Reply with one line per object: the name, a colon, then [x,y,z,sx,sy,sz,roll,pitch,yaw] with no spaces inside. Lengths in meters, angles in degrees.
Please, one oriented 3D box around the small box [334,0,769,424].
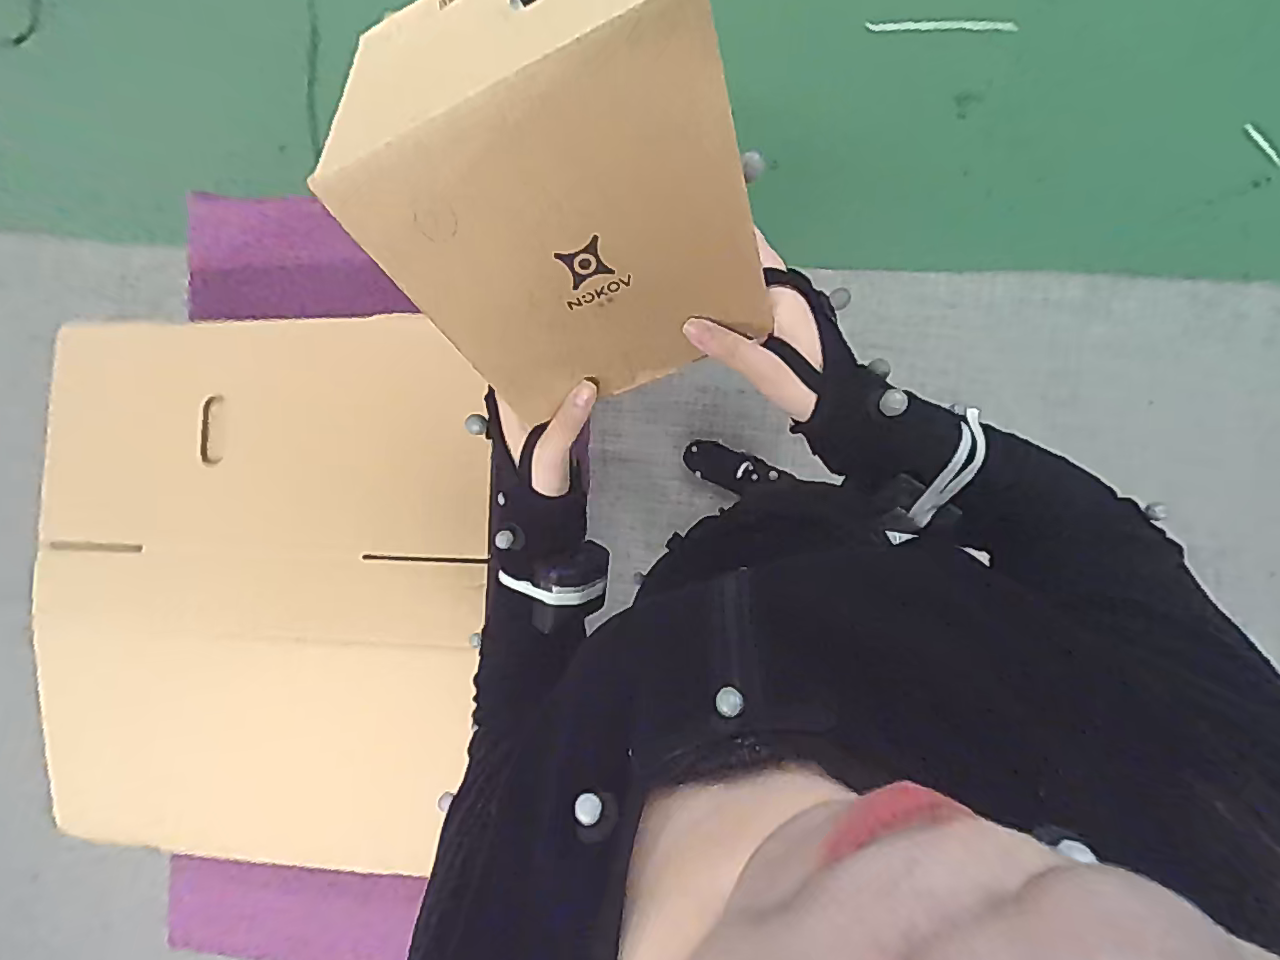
small box: [-0.038,-0.169,0.316,0.168,0.179,0.176,-19,57,12]
